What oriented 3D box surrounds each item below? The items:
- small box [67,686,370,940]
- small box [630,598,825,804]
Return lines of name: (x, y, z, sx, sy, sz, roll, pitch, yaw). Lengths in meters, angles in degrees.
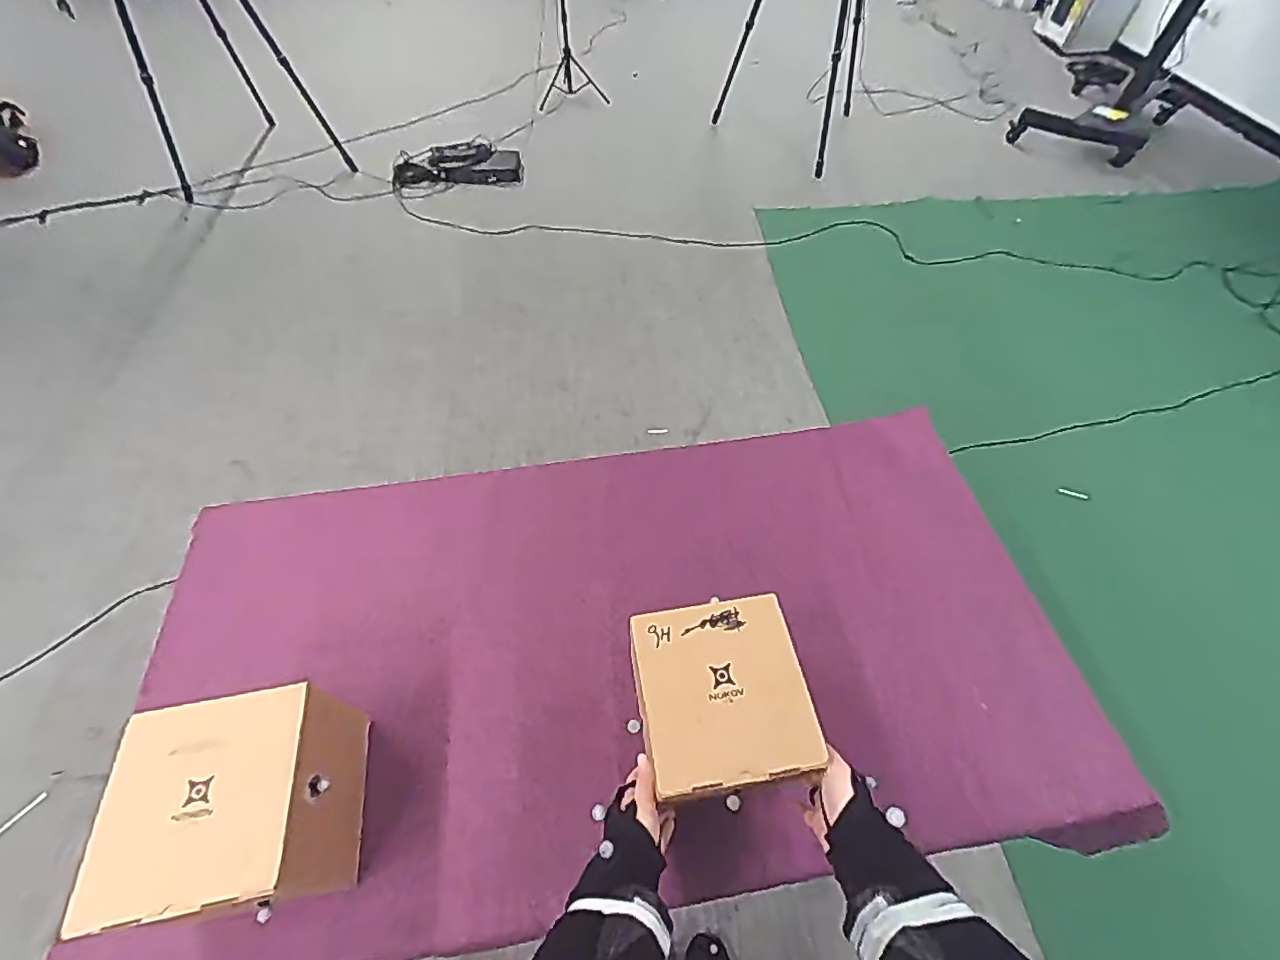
small box: (-0.397, 0.334, 0.555, 0.168, 0.176, 0.179, -8, 55, -7)
small box: (0.083, 0.256, 0.612, 0.168, 0.176, 0.179, -7, 56, -6)
